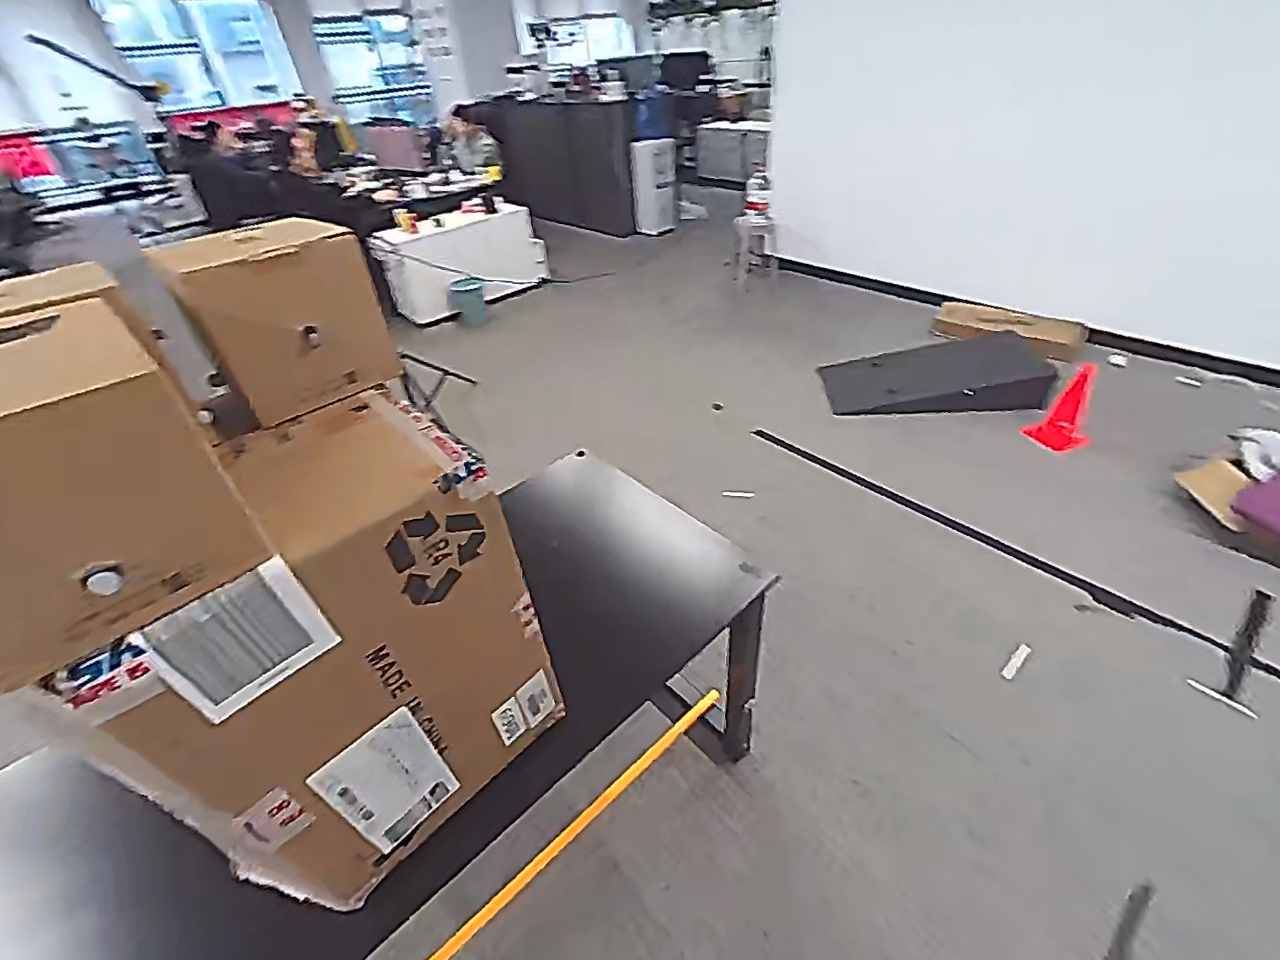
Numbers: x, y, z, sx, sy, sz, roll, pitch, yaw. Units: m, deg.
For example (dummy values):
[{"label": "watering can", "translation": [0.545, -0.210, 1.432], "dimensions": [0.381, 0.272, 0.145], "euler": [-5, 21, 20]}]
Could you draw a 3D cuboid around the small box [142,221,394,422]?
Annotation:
[{"label": "small box", "translation": [-0.420, -0.186, 0.631], "dimensions": [0.179, 0.176, 0.168], "euler": [28, 47, 35]}]

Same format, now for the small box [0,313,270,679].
[{"label": "small box", "translation": [-0.411, 0.002, 0.386], "dimensions": [0.179, 0.176, 0.168], "euler": [29, 48, 33]}]

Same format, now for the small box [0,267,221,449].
[{"label": "small box", "translation": [-0.563, -0.092, 0.529], "dimensions": [0.179, 0.176, 0.168], "euler": [25, 48, 35]}]
